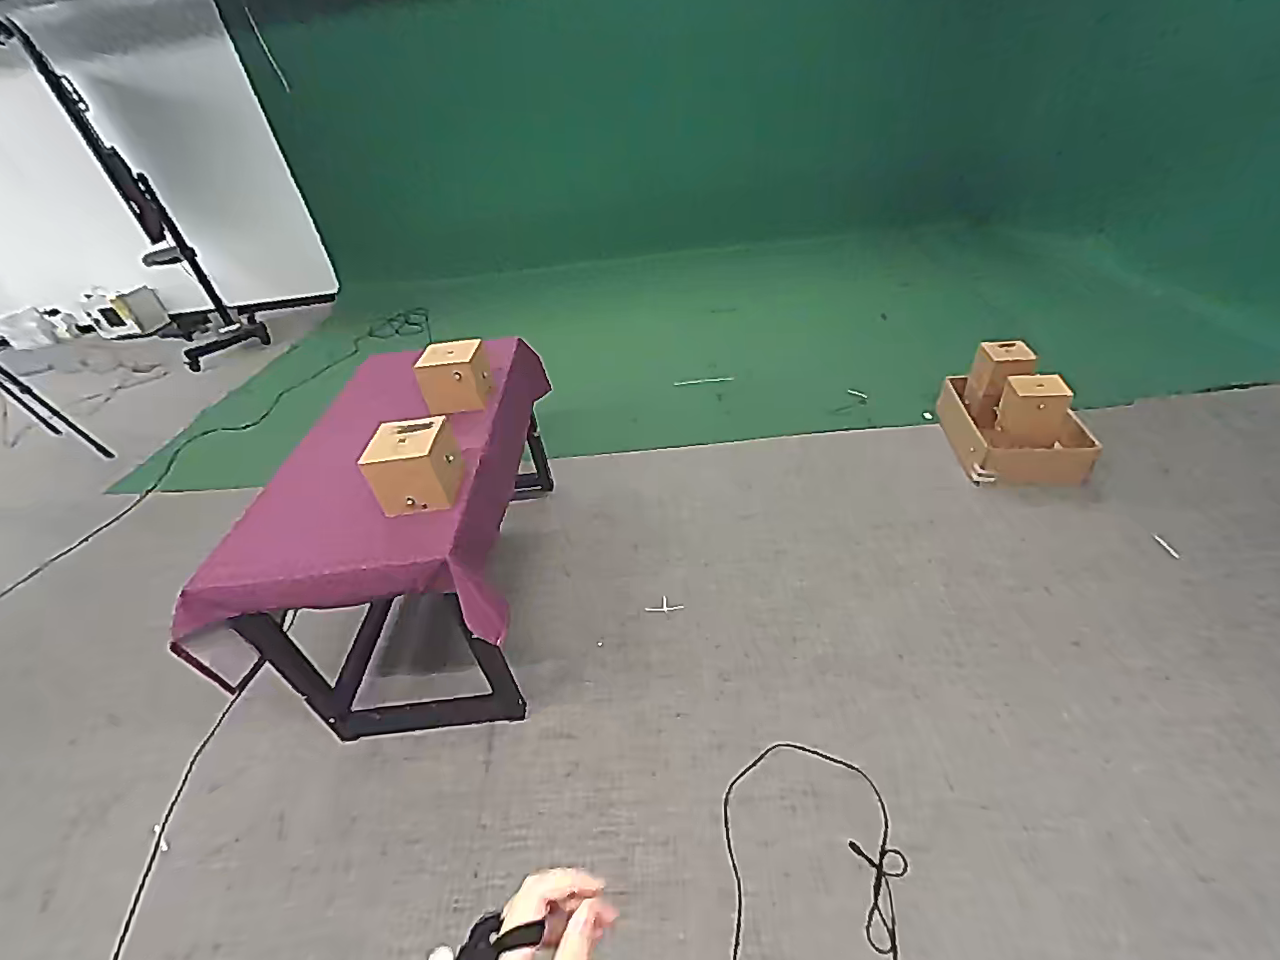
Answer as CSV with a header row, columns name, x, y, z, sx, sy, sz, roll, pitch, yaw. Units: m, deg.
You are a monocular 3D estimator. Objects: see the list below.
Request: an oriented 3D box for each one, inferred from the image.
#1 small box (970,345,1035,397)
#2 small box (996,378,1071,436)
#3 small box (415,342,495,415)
name,x,y,z,sx,sy,sz,roll,pitch,yaw
small box,1.568,-0.474,2.355,0.168,0.176,0.179,0,39,10
small box,1.537,-0.284,2.123,0.179,0.176,0.168,1,38,16
small box,-0.576,-0.321,1.717,0.179,0.176,0.168,-5,37,4
